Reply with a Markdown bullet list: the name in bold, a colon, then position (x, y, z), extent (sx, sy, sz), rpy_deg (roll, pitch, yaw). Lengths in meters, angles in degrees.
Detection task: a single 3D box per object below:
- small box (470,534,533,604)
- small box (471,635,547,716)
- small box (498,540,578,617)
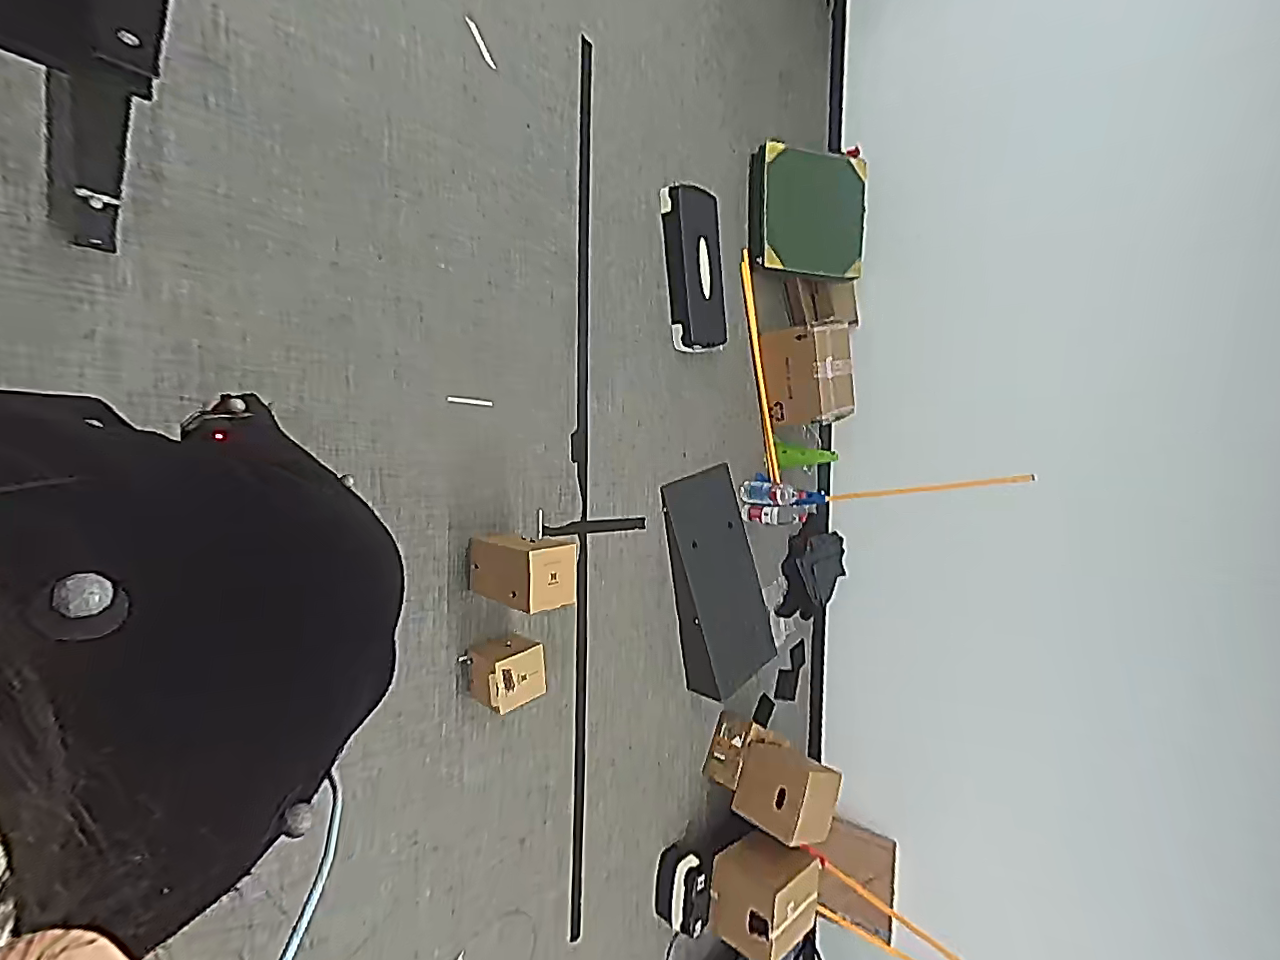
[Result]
- **small box**: position (-0.412, 0.271, 1.678), extent (0.168, 0.176, 0.179), rpy_deg (-1, 94, -46)
- **small box**: position (-0.416, 0.605, 1.698), extent (0.179, 0.176, 0.168), rpy_deg (-11, 100, -46)
- **small box**: position (-0.296, 0.277, 1.563), extent (0.168, 0.176, 0.179), rpy_deg (-3, 94, -46)
